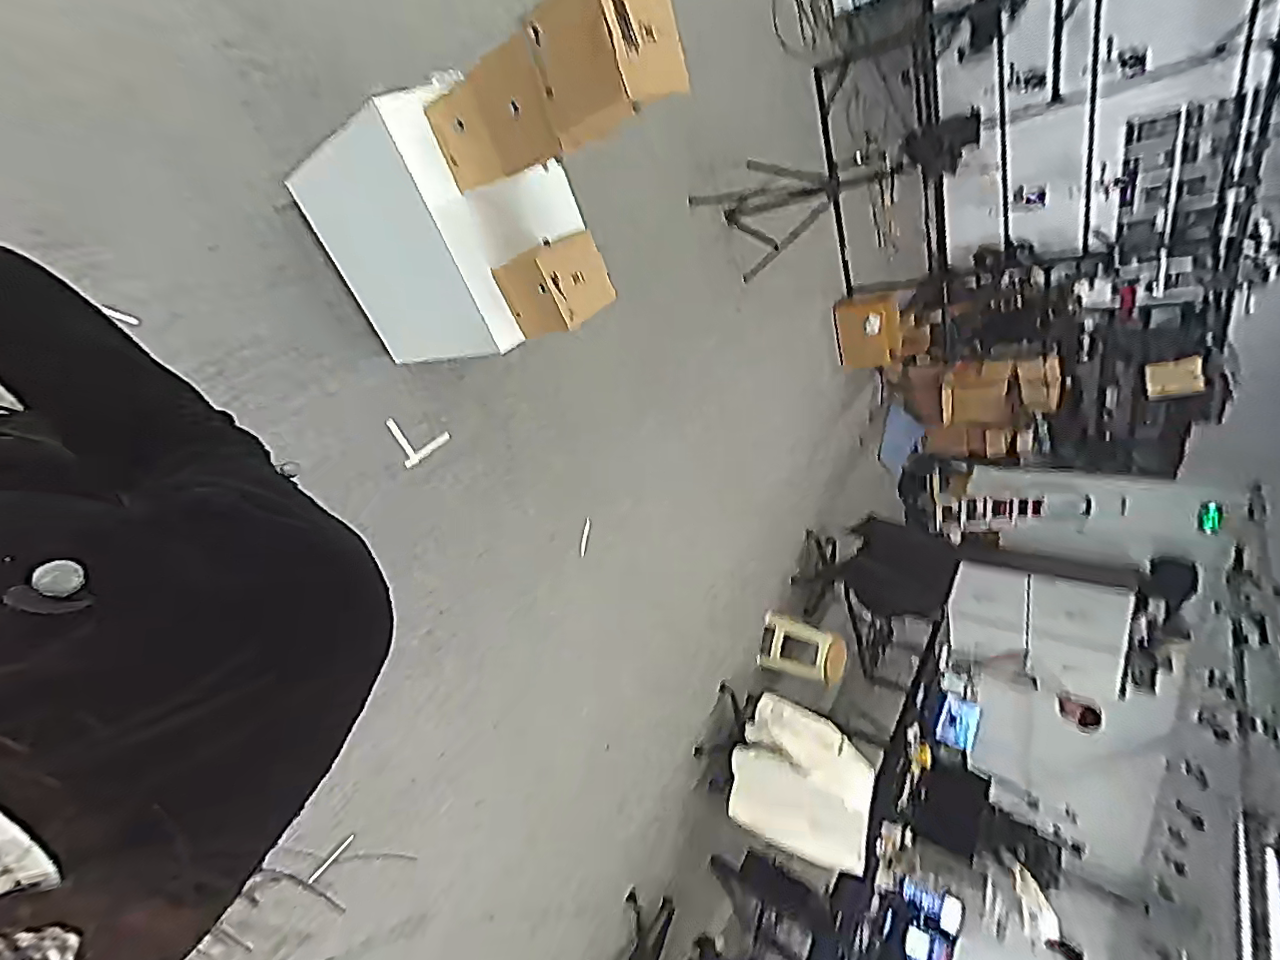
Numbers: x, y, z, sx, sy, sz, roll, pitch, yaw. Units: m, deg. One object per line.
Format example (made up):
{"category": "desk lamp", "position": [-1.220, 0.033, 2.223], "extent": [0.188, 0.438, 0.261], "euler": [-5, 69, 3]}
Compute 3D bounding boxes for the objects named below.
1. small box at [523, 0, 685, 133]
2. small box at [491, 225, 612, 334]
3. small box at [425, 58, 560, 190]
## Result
{"category": "small box", "position": [-0.061, -0.678, 0.859], "extent": [0.179, 0.176, 0.168], "euler": [-43, 125, -37]}
{"category": "small box", "position": [-0.200, -0.450, 1.226], "extent": [0.179, 0.176, 0.168], "euler": [-48, 127, -33]}
{"category": "small box", "position": [-0.300, -0.705, 1.083], "extent": [0.179, 0.176, 0.168], "euler": [-45, 127, -35]}
